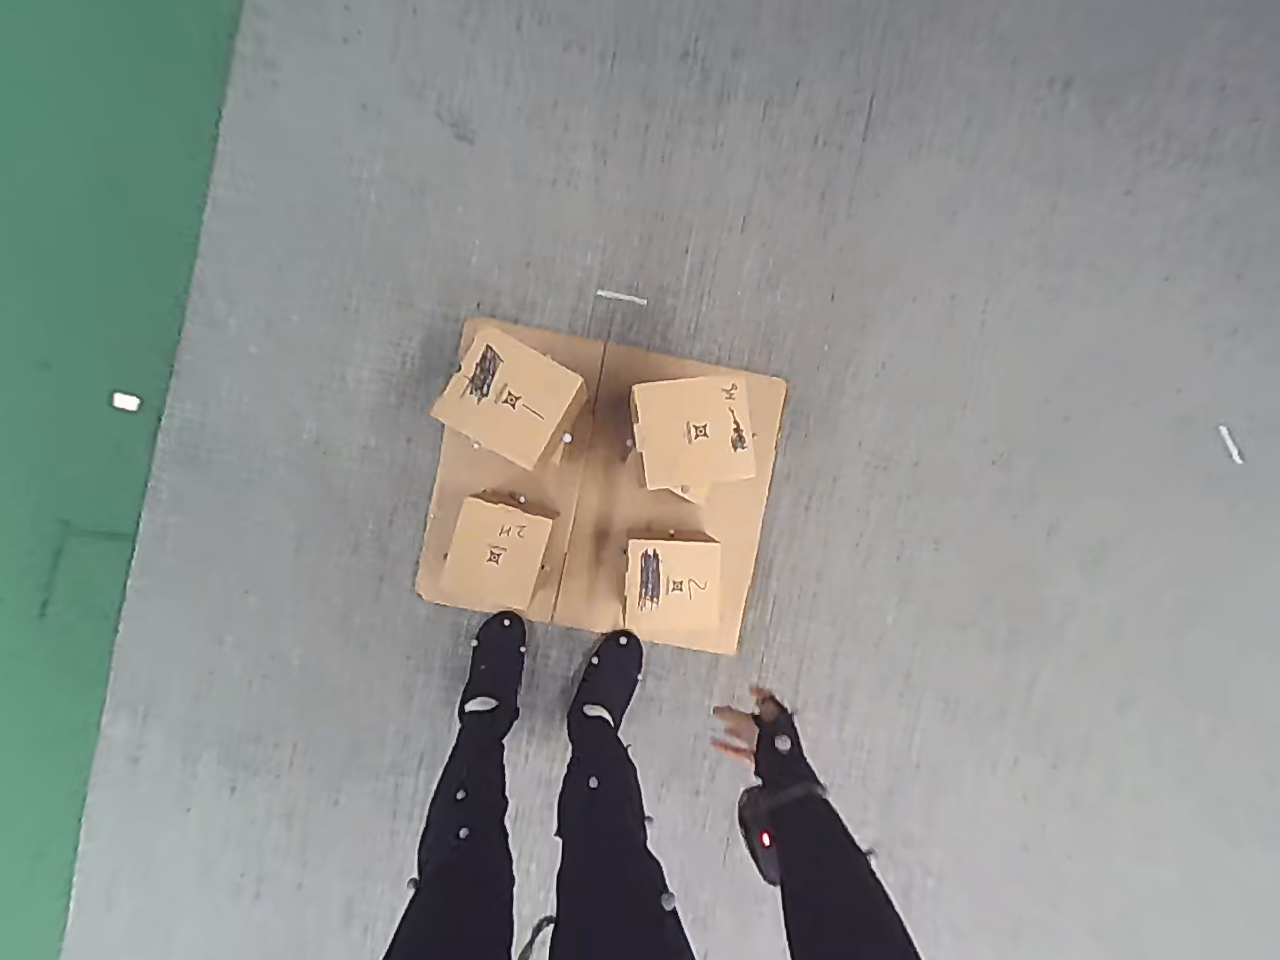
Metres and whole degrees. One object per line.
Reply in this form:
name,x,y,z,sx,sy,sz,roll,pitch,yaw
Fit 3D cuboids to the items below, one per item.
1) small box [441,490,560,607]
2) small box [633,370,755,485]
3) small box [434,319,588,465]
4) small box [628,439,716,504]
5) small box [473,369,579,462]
small box,-0.261,0.125,1.057,0.168,0.176,0.179,17,89,-4
small box,0.082,-0.079,0.909,0.179,0.176,0.168,-6,90,-2
small box,-0.201,-0.132,0.896,0.179,0.176,0.168,30,88,-3
small box,0.083,-0.070,1.072,0.168,0.176,0.179,30,88,-2
small box,-0.208,-0.135,1.060,0.168,0.176,0.179,13,89,-3
